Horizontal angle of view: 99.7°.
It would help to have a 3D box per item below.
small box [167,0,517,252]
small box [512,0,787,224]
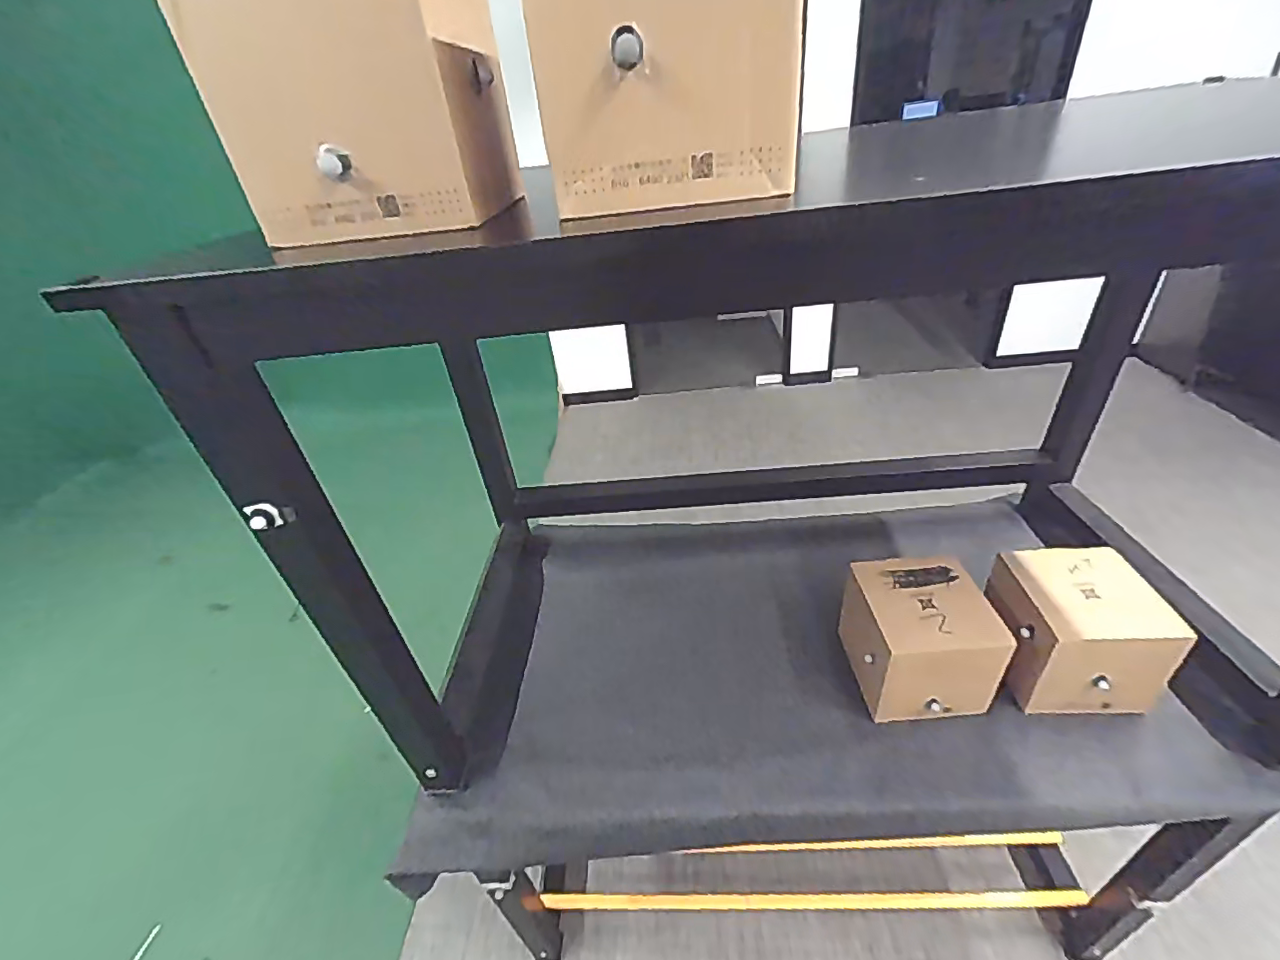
[{"bbox_3d":[-0.208,-0.292,0.436,0.168,0.176,0.179,-4,35,5],"label":"small box"},{"bbox_3d":[0.015,-0.299,0.406,0.168,0.176,0.179,-4,34,6],"label":"small box"}]
